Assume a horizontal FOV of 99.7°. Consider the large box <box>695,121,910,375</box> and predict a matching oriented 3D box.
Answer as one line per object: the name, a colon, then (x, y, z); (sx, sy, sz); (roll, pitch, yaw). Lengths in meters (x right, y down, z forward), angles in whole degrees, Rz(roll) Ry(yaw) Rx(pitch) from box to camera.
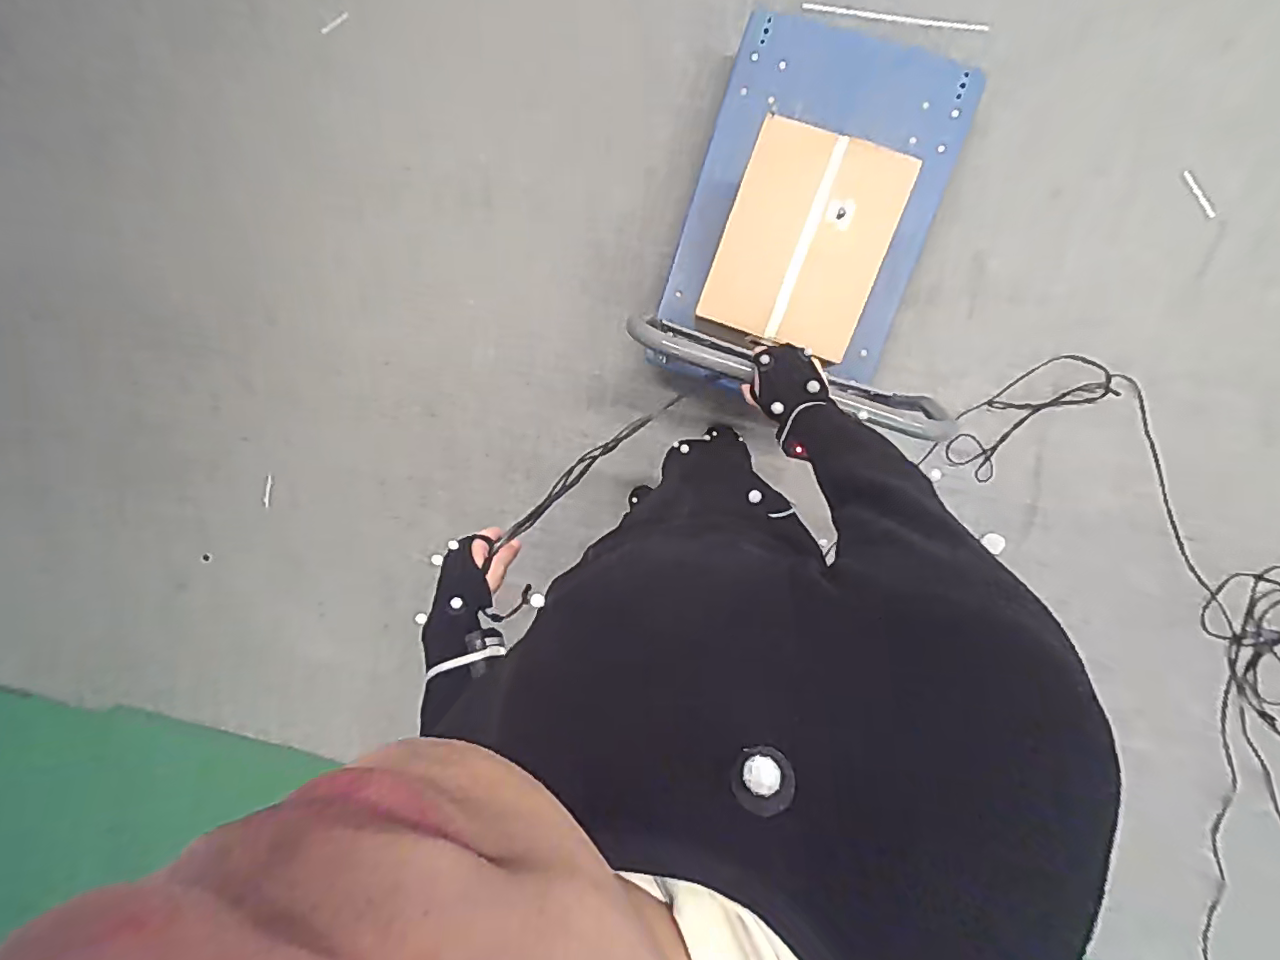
large box: (0.333, -0.485, 1.224); (0.320, 0.320, 0.408); (20, 97, 3)
